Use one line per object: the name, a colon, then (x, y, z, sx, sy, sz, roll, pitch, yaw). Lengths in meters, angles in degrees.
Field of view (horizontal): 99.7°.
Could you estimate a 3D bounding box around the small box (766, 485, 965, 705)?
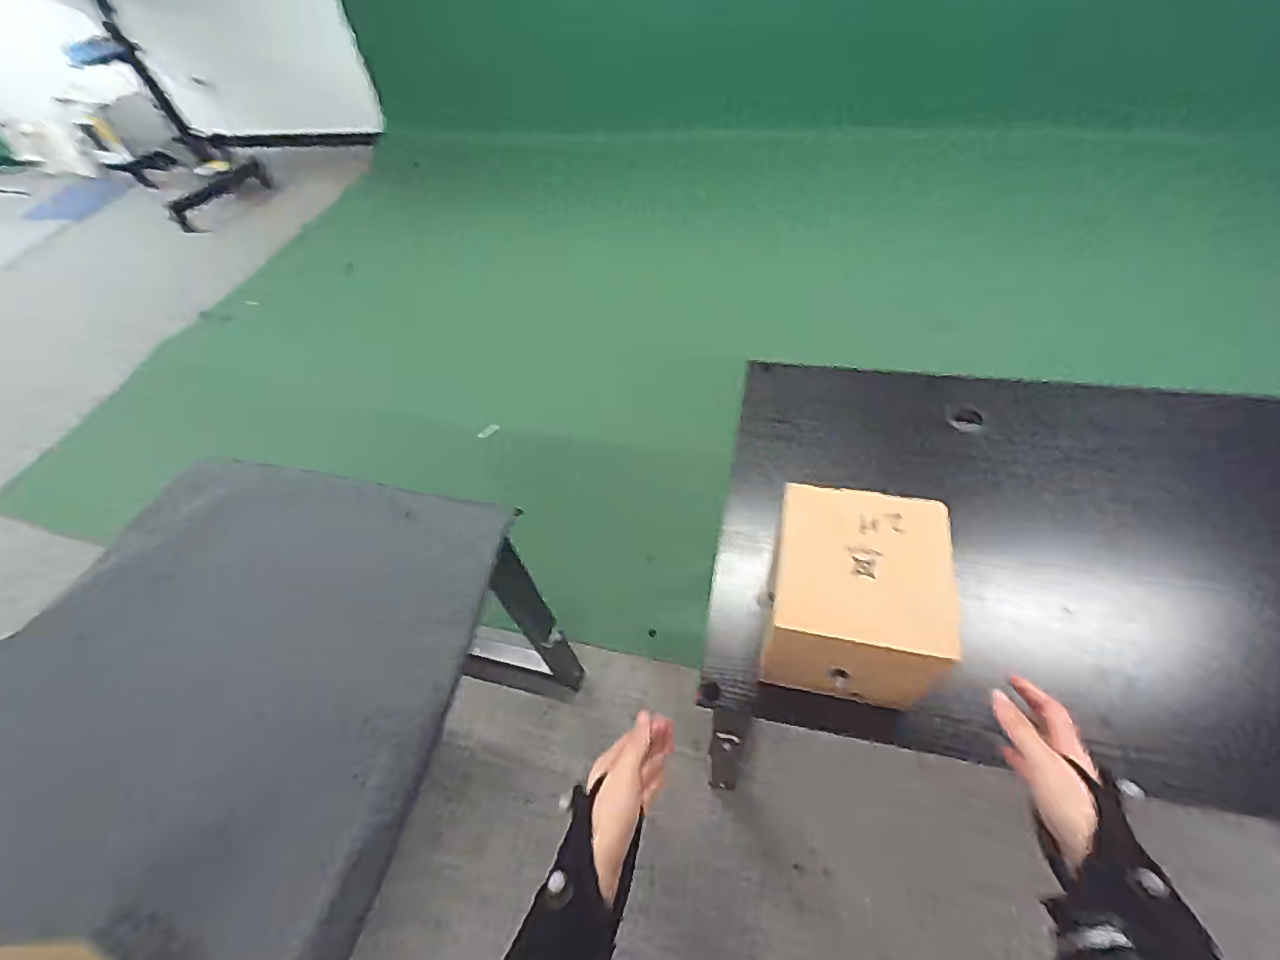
small box: (0.235, 0.132, 0.601, 0.168, 0.176, 0.179, 8, 54, 12)
